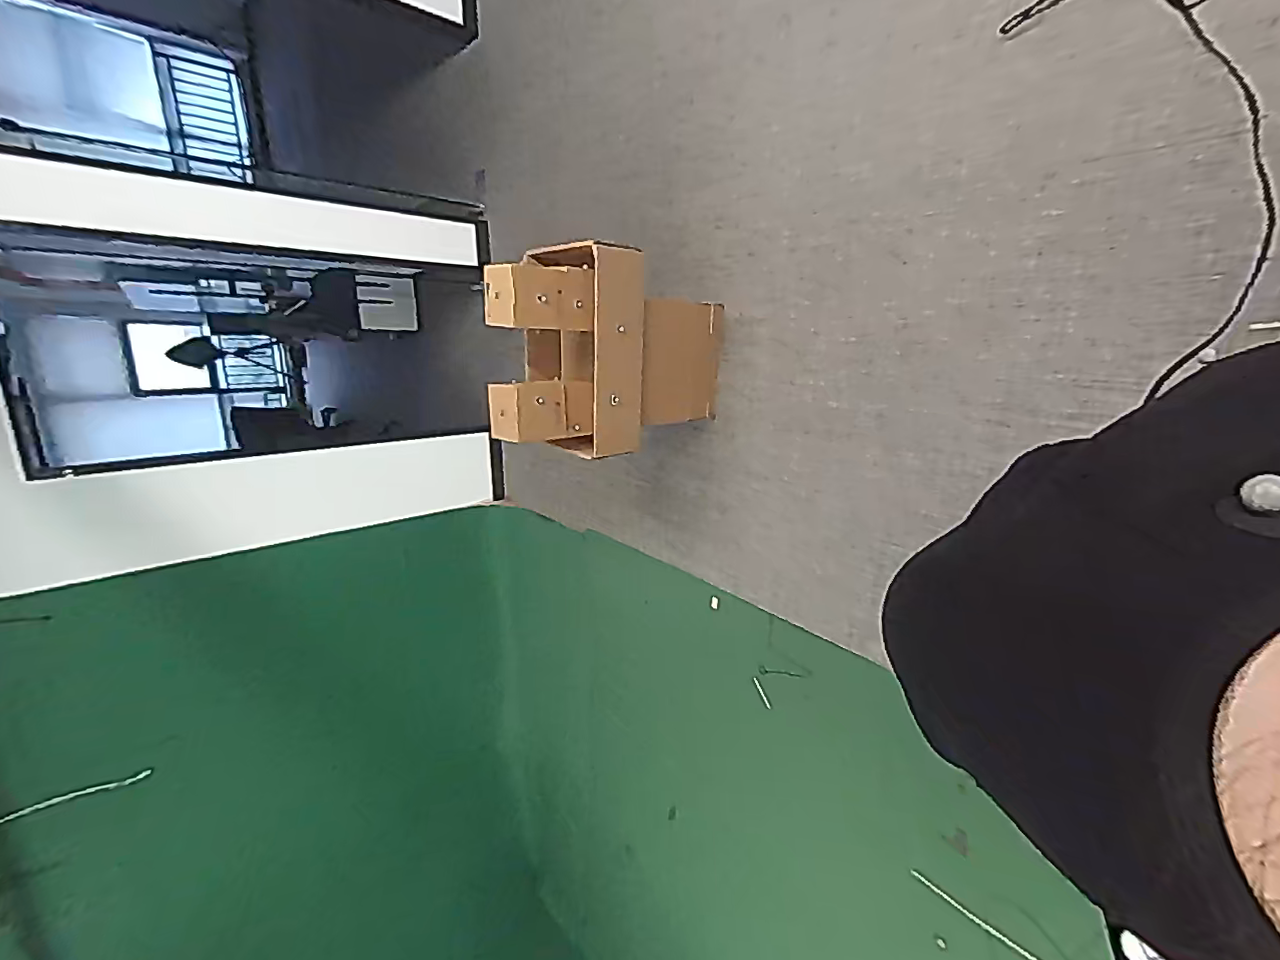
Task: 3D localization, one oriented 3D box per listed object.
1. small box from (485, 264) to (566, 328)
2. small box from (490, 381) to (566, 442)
[{"bbox_3d":[-0.327,-0.528,1.555,0.179,0.176,0.168,22,115,45],"label":"small box"},{"bbox_3d":[-0.336,-0.215,1.646,0.179,0.176,0.168,14,109,48],"label":"small box"}]
